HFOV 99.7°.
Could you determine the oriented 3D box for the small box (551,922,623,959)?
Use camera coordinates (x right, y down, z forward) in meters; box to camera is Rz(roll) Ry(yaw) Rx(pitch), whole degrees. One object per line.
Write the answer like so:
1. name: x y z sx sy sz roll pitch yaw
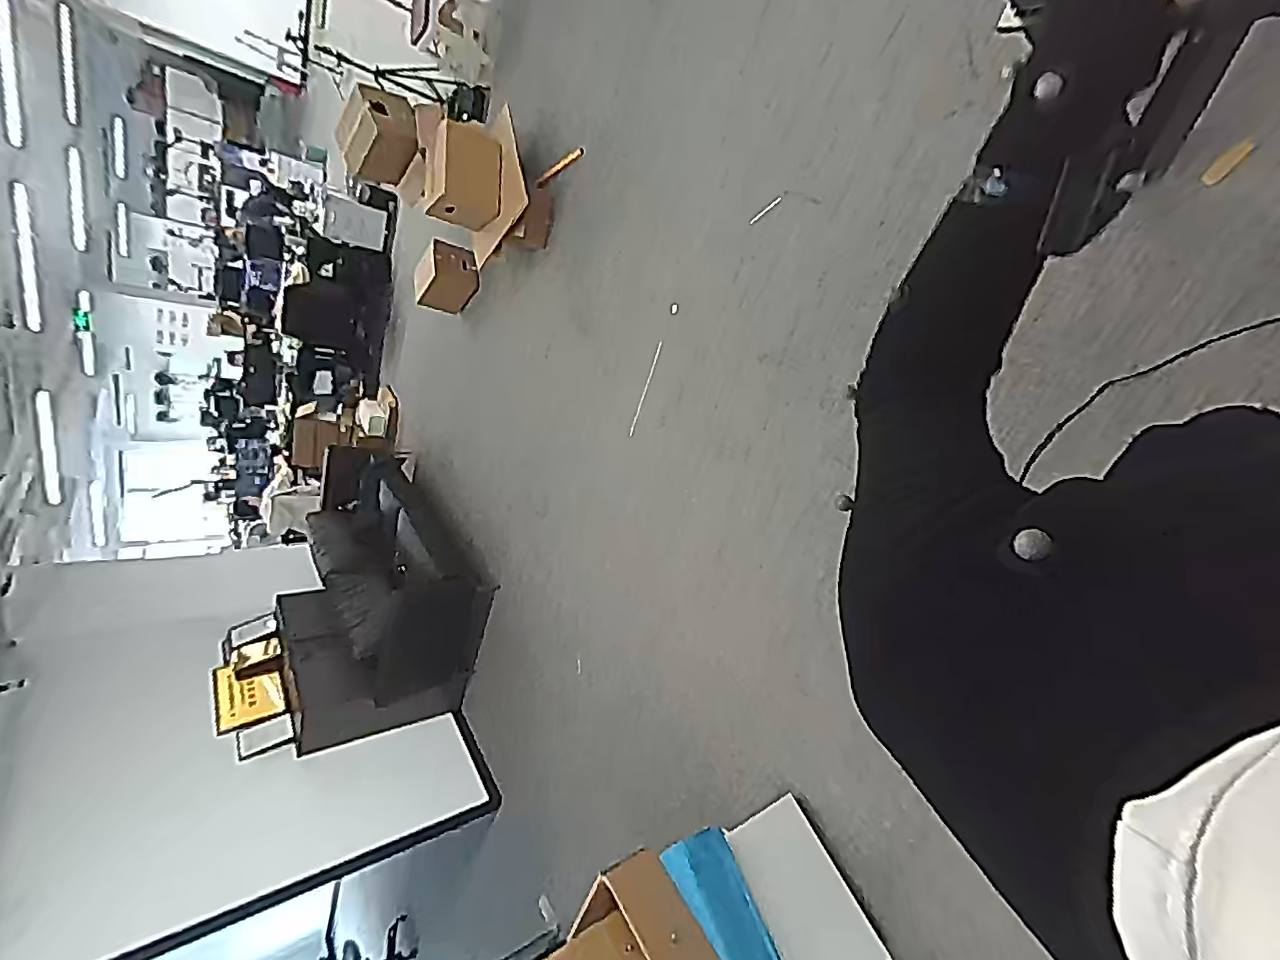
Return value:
1. small box: -0.135 1.327 1.416 0.179 0.176 0.168 40 121 40
